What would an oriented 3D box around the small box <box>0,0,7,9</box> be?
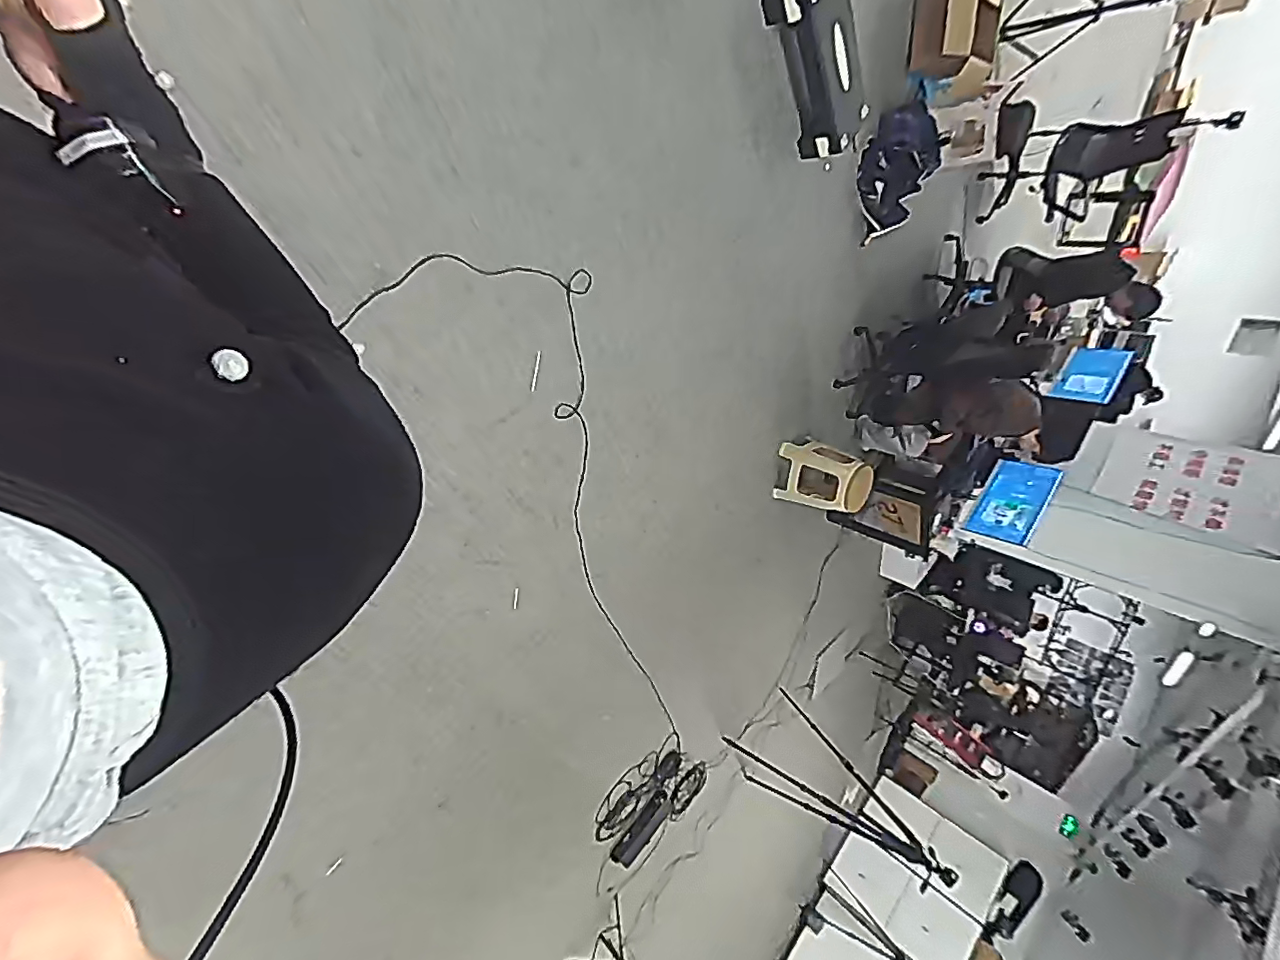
[{"bbox_3d":[-0.430,-0.341,0.238,0.179,0.176,0.168,-13,122,-42],"label":"small box"}]
